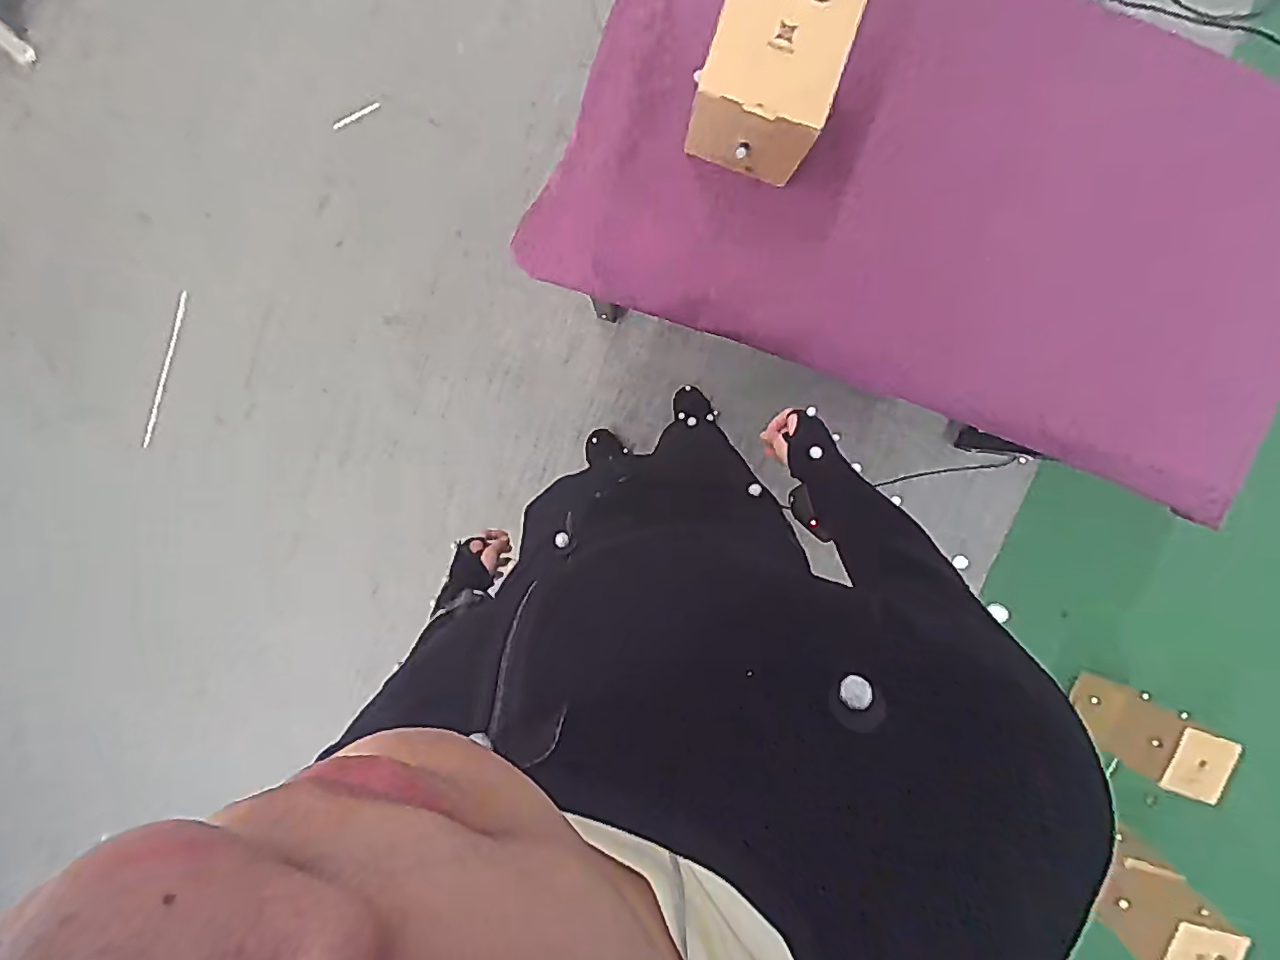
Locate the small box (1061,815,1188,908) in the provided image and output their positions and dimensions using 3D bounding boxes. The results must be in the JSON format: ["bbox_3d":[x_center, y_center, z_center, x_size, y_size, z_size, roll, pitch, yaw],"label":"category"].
[{"bbox_3d":[1.343,1.084,1.514,0.179,0.176,0.168,19,97,-2],"label":"small box"}]

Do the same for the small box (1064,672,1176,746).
[{"bbox_3d":[1.448,0.709,1.638,0.179,0.176,0.168,19,96,-4],"label":"small box"}]

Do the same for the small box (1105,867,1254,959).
[{"bbox_3d":[1.338,1.118,1.354,0.179,0.176,0.168,14,97,0],"label":"small box"}]

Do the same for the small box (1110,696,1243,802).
[{"bbox_3d":[1.447,0.723,1.474,0.168,0.176,0.179,19,96,-3],"label":"small box"}]

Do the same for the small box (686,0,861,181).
[{"bbox_3d":[0.167,-0.547,0.741,0.168,0.176,0.179,18,97,-3],"label":"small box"}]
